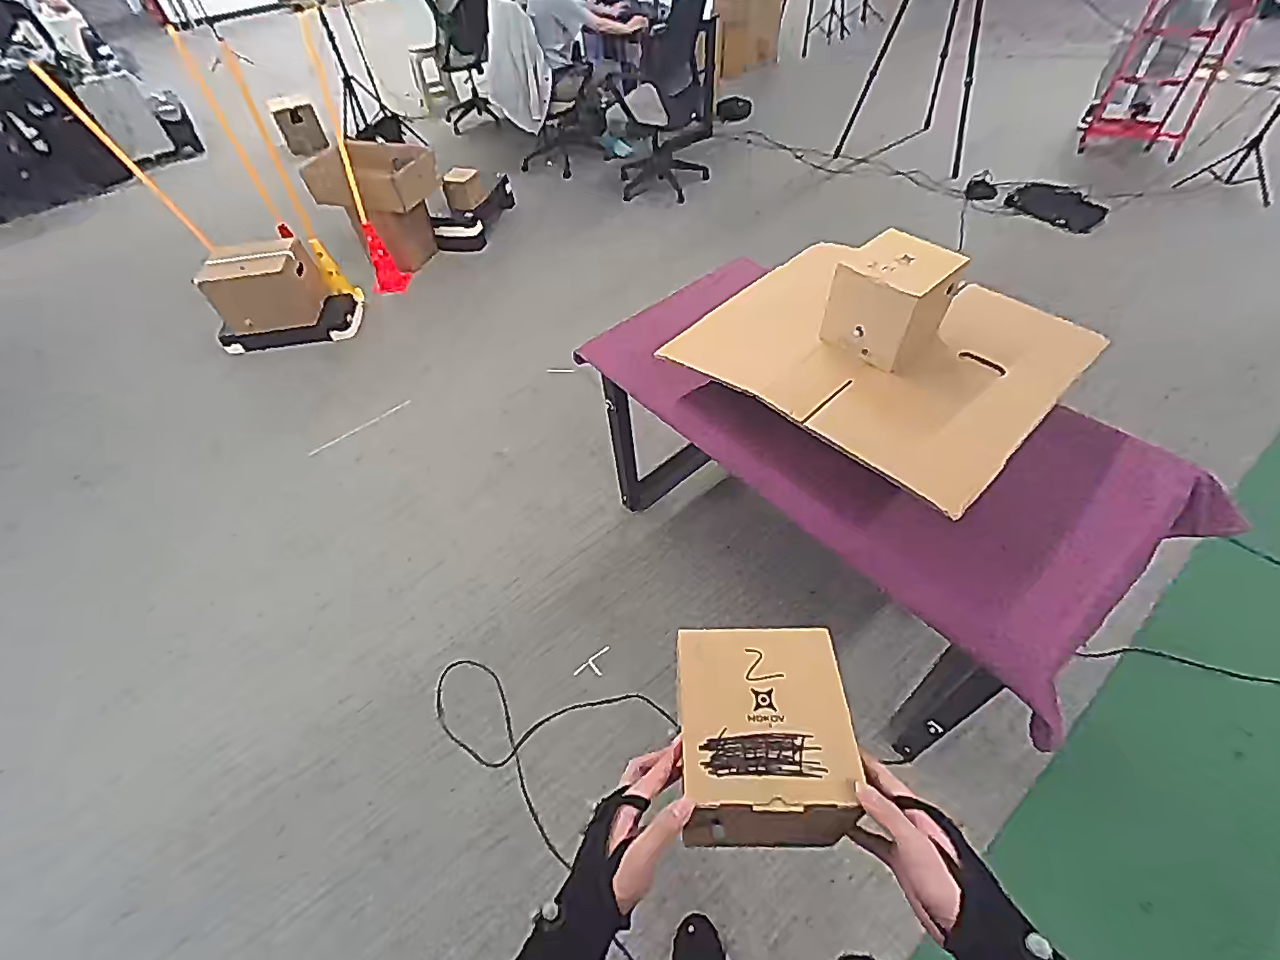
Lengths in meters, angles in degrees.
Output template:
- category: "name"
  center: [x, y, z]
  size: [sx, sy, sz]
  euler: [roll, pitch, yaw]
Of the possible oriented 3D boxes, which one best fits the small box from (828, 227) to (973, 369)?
- category: "small box"
  center: [0.489, -0.350, 1.044]
  size: [0.179, 0.176, 0.168]
  euler: [-36, 58, -21]
